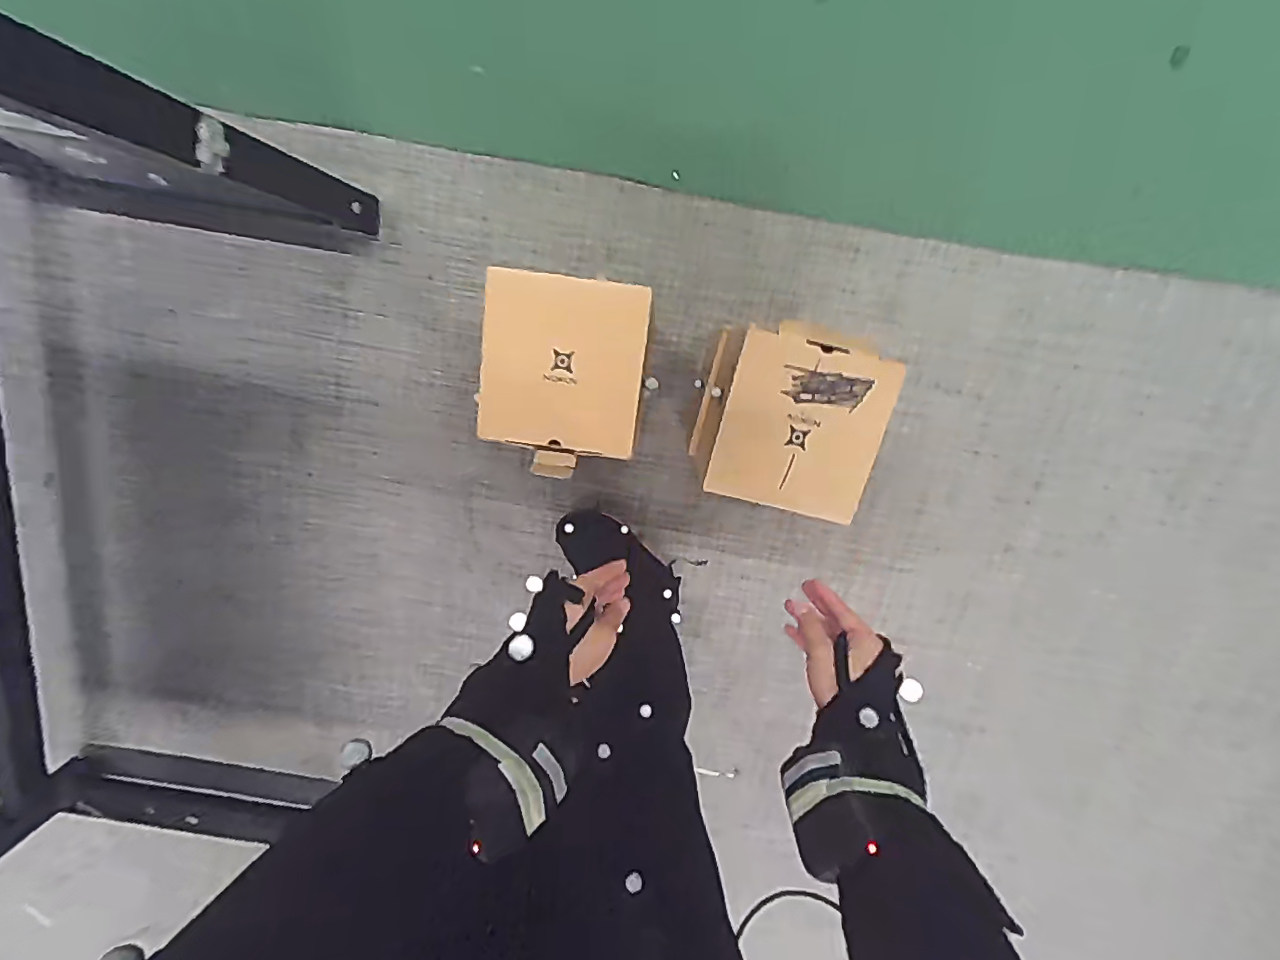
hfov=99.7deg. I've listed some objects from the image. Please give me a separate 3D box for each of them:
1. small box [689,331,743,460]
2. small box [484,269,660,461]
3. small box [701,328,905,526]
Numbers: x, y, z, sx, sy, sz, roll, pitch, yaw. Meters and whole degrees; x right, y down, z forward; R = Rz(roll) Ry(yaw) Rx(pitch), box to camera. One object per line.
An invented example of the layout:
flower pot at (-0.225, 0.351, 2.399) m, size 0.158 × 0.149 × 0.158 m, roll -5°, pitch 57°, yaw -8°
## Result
small box at (0.171, -0.112, 0.796) m, size 0.168 × 0.176 × 0.179 m, roll 14°, pitch 106°, yaw 0°
small box at (-0.071, -0.132, 0.629) m, size 0.168 × 0.176 × 0.179 m, roll 7°, pitch 104°, yaw 0°
small box at (0.172, -0.070, 0.636) m, size 0.168 × 0.176 × 0.179 m, roll 14°, pitch 105°, yaw 0°
